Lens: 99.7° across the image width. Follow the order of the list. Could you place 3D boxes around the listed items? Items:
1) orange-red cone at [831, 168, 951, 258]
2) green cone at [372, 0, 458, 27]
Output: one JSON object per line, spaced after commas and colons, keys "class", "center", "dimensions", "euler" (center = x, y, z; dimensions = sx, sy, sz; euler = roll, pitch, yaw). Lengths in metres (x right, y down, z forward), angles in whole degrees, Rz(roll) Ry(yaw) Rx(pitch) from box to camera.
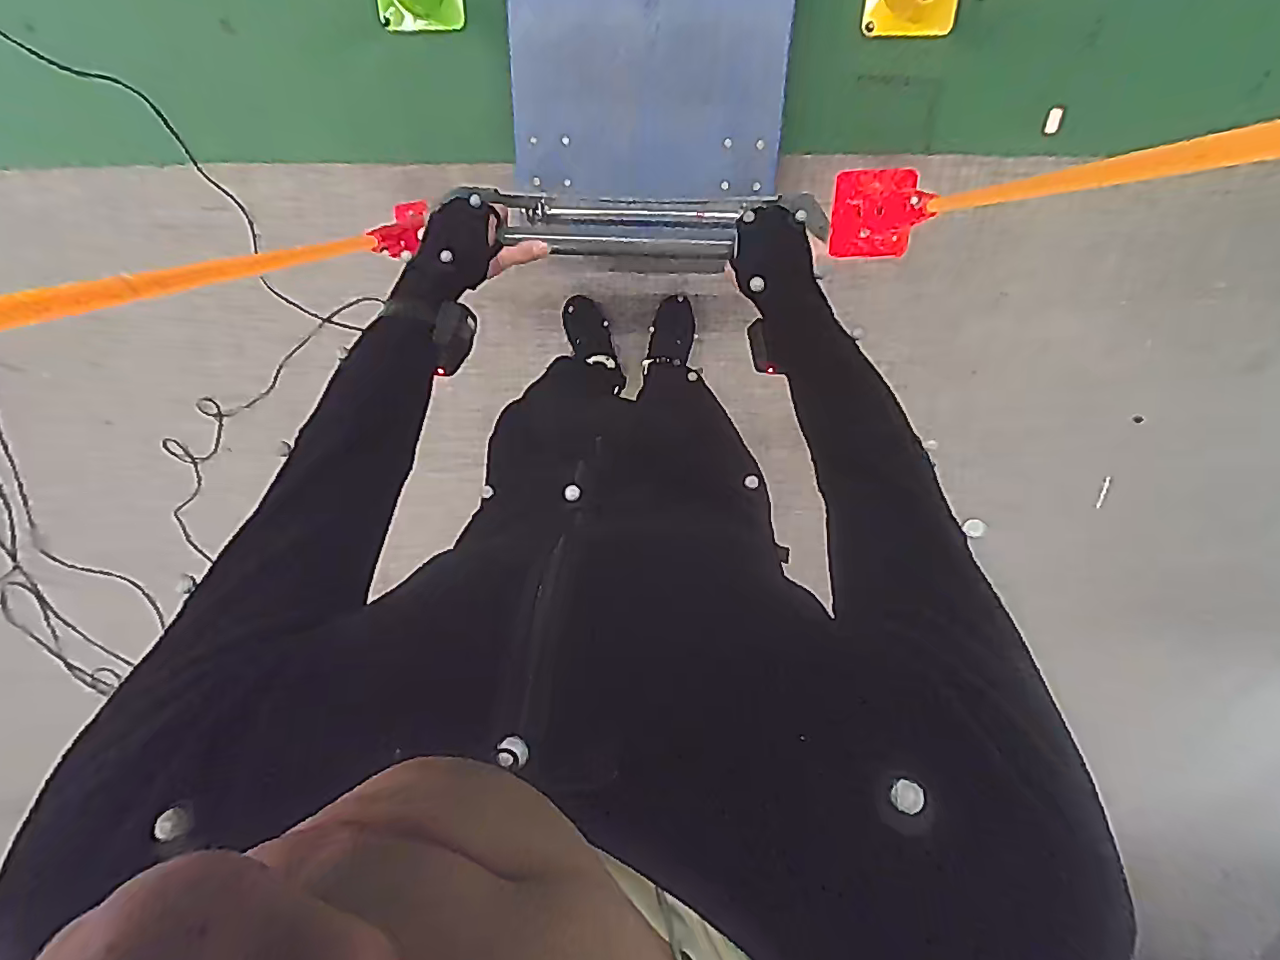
{"class": "orange-red cone", "center": [0.569, -0.591, 1.172], "dimensions": [0.198, 0.360, 0.199], "euler": [1, 112, 2]}
{"class": "green cone", "center": [-0.516, -1.056, 1.030], "dimensions": [0.200, 0.368, 0.202], "euler": [1, 113, 4]}
